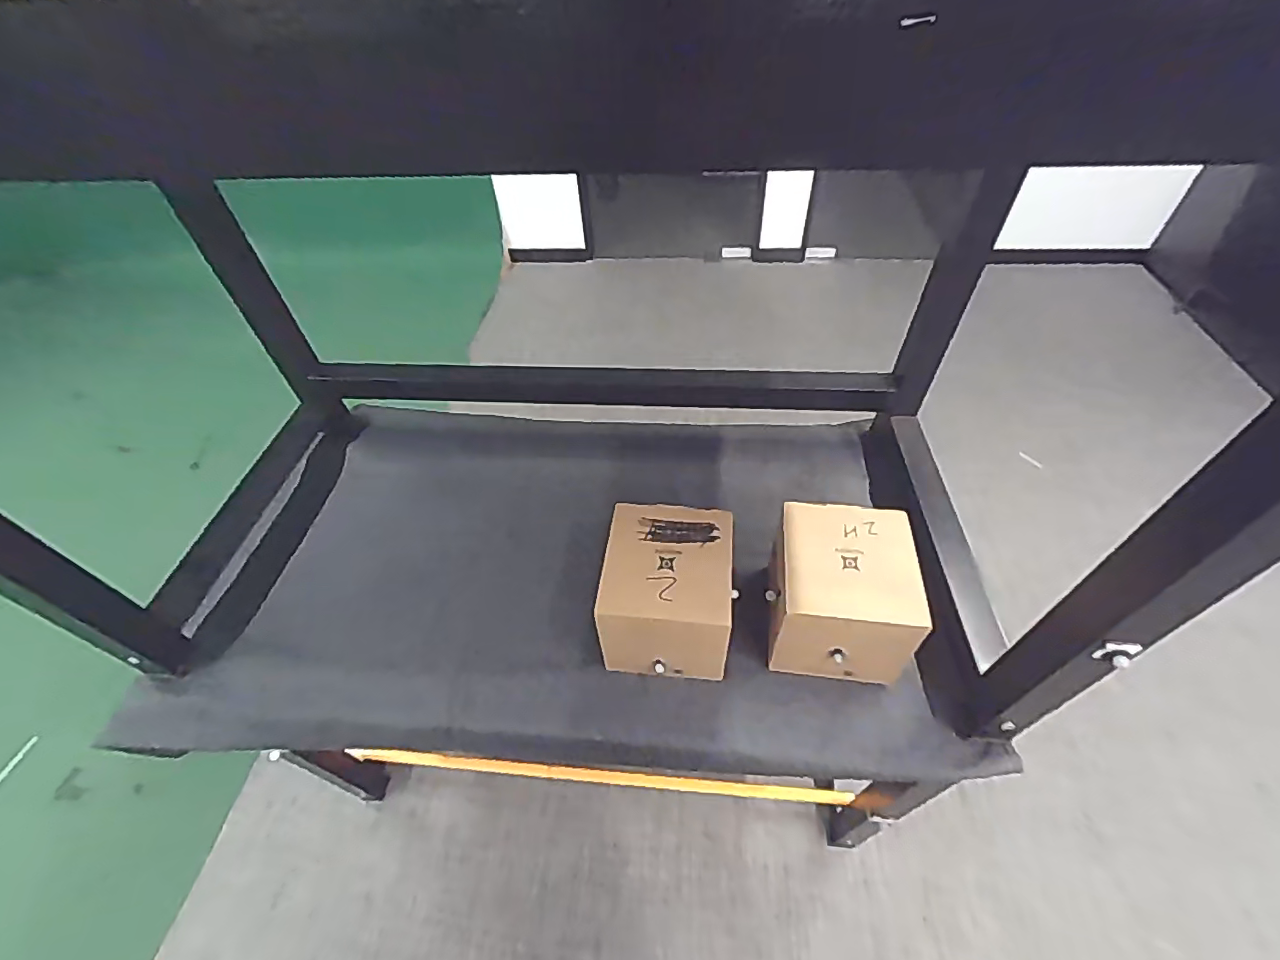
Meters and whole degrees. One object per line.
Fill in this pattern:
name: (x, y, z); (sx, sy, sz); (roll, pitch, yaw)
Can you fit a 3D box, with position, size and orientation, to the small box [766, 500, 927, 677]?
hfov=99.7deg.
small box: (0.269, 0.151, 0.746); (0.168, 0.176, 0.179); (5, 48, 8)
